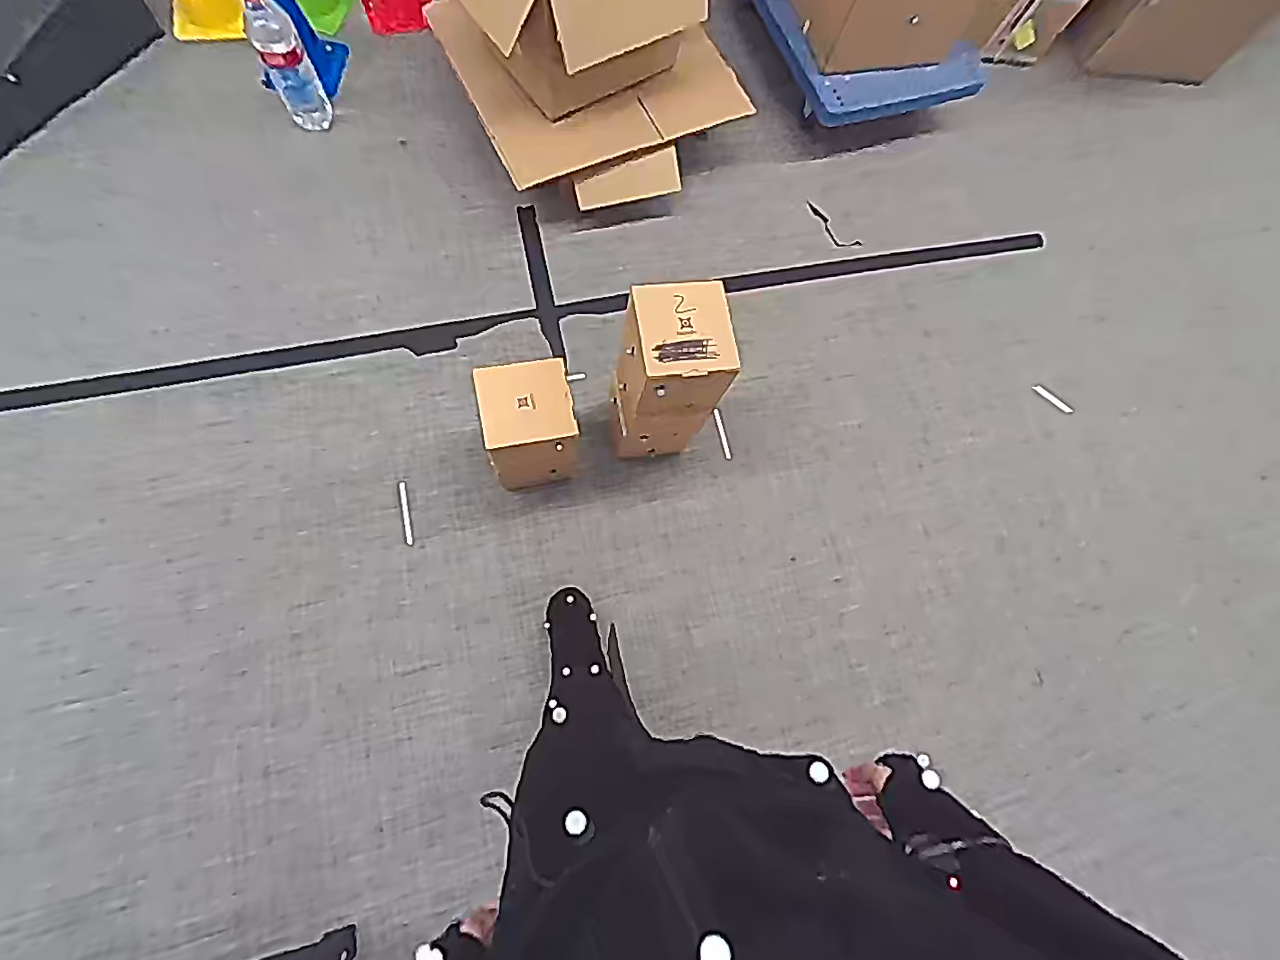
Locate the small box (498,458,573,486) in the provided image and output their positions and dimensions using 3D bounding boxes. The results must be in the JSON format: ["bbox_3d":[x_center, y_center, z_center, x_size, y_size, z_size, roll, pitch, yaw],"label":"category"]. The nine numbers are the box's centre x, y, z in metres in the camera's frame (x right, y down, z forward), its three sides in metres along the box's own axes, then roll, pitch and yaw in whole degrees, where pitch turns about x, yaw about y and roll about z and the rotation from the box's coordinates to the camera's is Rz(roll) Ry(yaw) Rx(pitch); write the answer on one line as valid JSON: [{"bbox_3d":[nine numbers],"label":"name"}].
[{"bbox_3d":[-0.251,-0.093,1.251,0.168,0.176,0.179,-12,77,-12],"label":"small box"}]

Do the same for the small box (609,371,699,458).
[{"bbox_3d":[0.027,-0.159,1.308,0.179,0.176,0.168,-6,77,-11],"label":"small box"}]

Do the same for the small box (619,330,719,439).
[{"bbox_3d":[0.054,-0.195,1.149,0.168,0.176,0.179,-8,76,-10],"label":"small box"}]

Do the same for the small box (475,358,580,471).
[{"bbox_3d":[-0.223,-0.126,1.094,0.179,0.176,0.168,-11,78,-12],"label":"small box"}]
